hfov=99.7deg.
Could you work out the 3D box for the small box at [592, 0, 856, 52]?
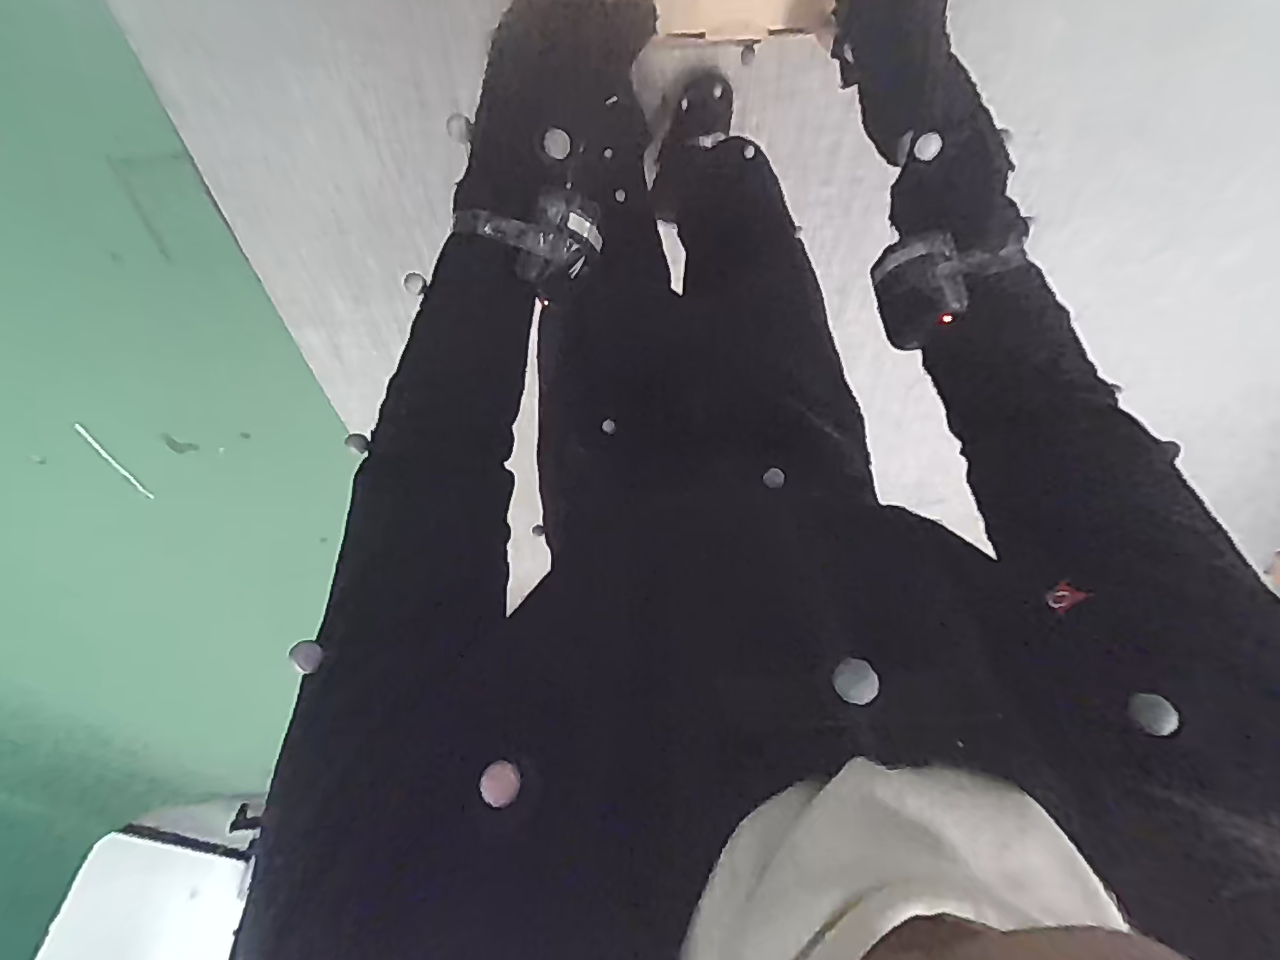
[{"bbox_3d":[0.046,-0.418,0.376,0.168,0.176,0.179,-11,128,-4],"label":"small box"}]
